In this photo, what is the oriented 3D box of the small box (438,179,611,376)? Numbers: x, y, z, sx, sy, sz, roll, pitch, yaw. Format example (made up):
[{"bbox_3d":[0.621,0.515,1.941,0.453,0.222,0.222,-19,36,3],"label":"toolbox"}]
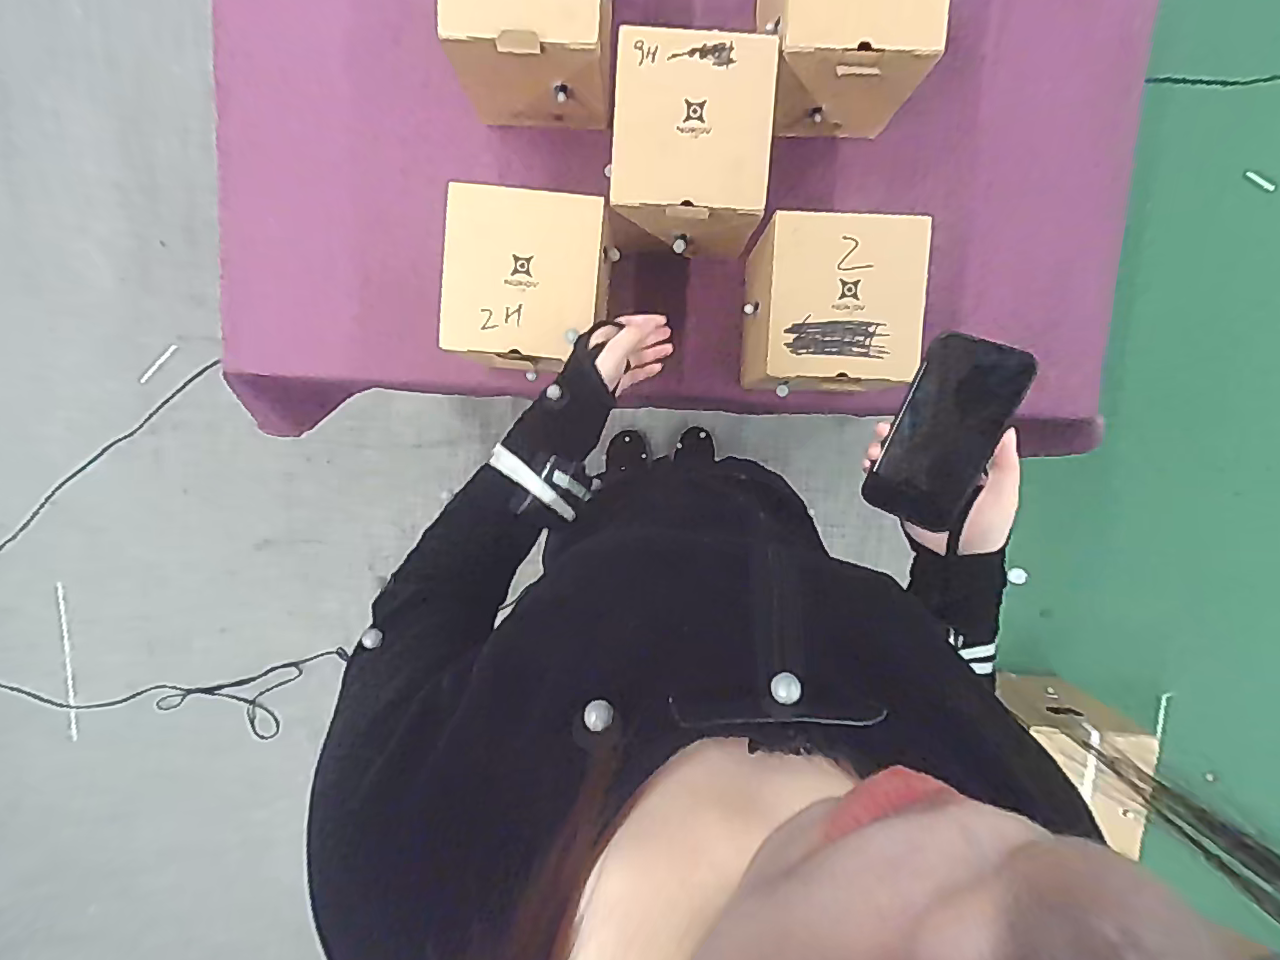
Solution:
[{"bbox_3d":[-0.126,-0.228,0.652,0.168,0.176,0.179,6,96,0],"label":"small box"}]

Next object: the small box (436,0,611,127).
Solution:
[{"bbox_3d":[-0.121,-0.540,0.619,0.168,0.176,0.179,3,96,-1],"label":"small box"}]

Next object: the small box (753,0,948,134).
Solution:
[{"bbox_3d":[0.229,-0.533,0.618,0.168,0.176,0.179,1,98,0],"label":"small box"}]
